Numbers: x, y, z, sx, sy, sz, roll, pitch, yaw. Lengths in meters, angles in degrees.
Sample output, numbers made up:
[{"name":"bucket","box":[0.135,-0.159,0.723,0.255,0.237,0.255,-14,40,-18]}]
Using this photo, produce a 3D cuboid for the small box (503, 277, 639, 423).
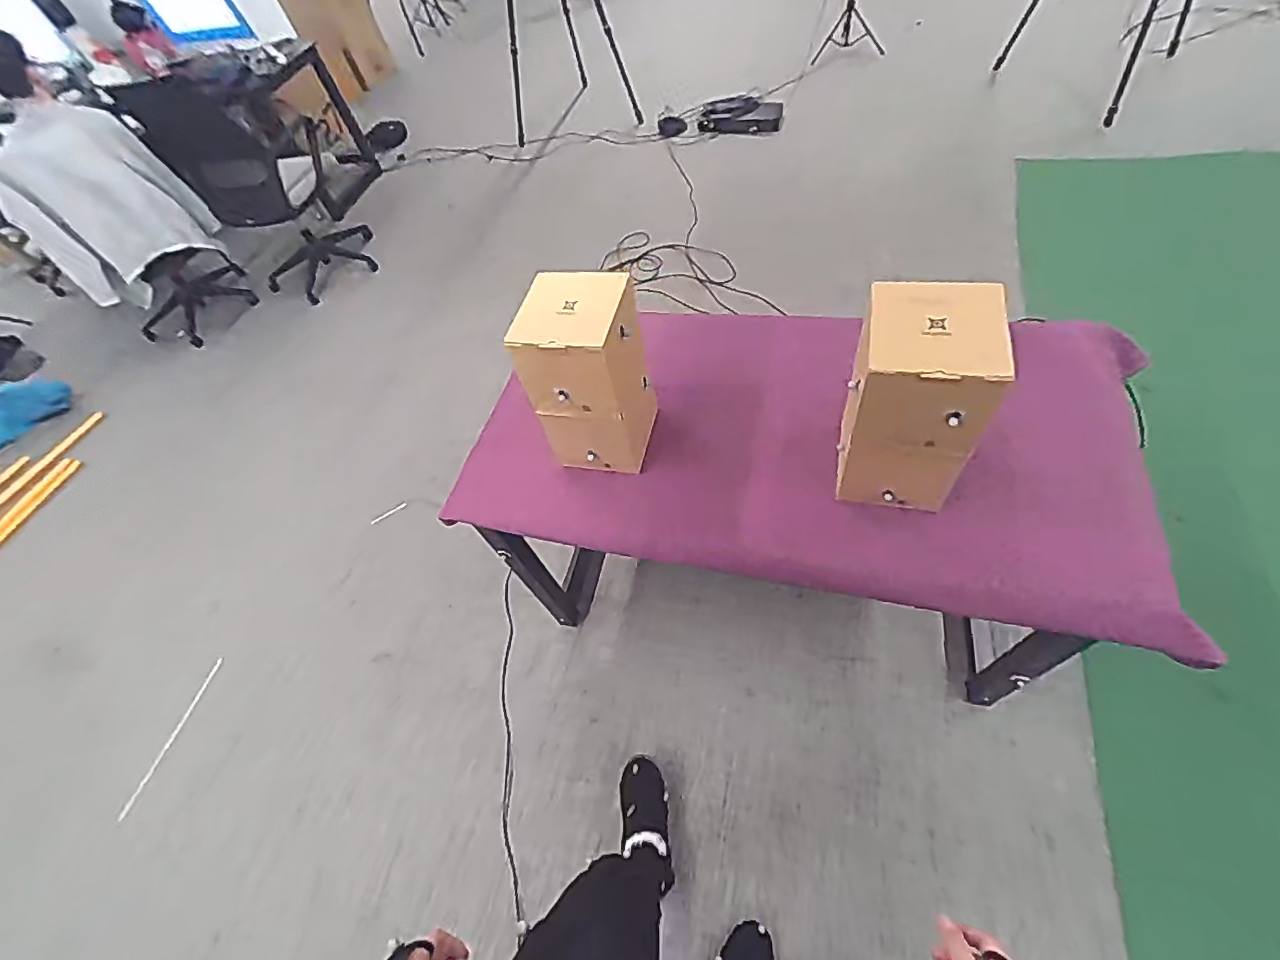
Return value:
[{"name":"small box","box":[-0.104,-0.222,0.924,0.168,0.176,0.179,6,58,15]}]

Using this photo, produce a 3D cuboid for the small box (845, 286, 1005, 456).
[{"name":"small box","box":[0.393,-0.152,0.771,0.168,0.176,0.179,7,58,16]}]

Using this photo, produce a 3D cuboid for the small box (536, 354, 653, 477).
[{"name":"small box","box":[-0.078,-0.131,1.056,0.168,0.176,0.179,6,58,16]}]
